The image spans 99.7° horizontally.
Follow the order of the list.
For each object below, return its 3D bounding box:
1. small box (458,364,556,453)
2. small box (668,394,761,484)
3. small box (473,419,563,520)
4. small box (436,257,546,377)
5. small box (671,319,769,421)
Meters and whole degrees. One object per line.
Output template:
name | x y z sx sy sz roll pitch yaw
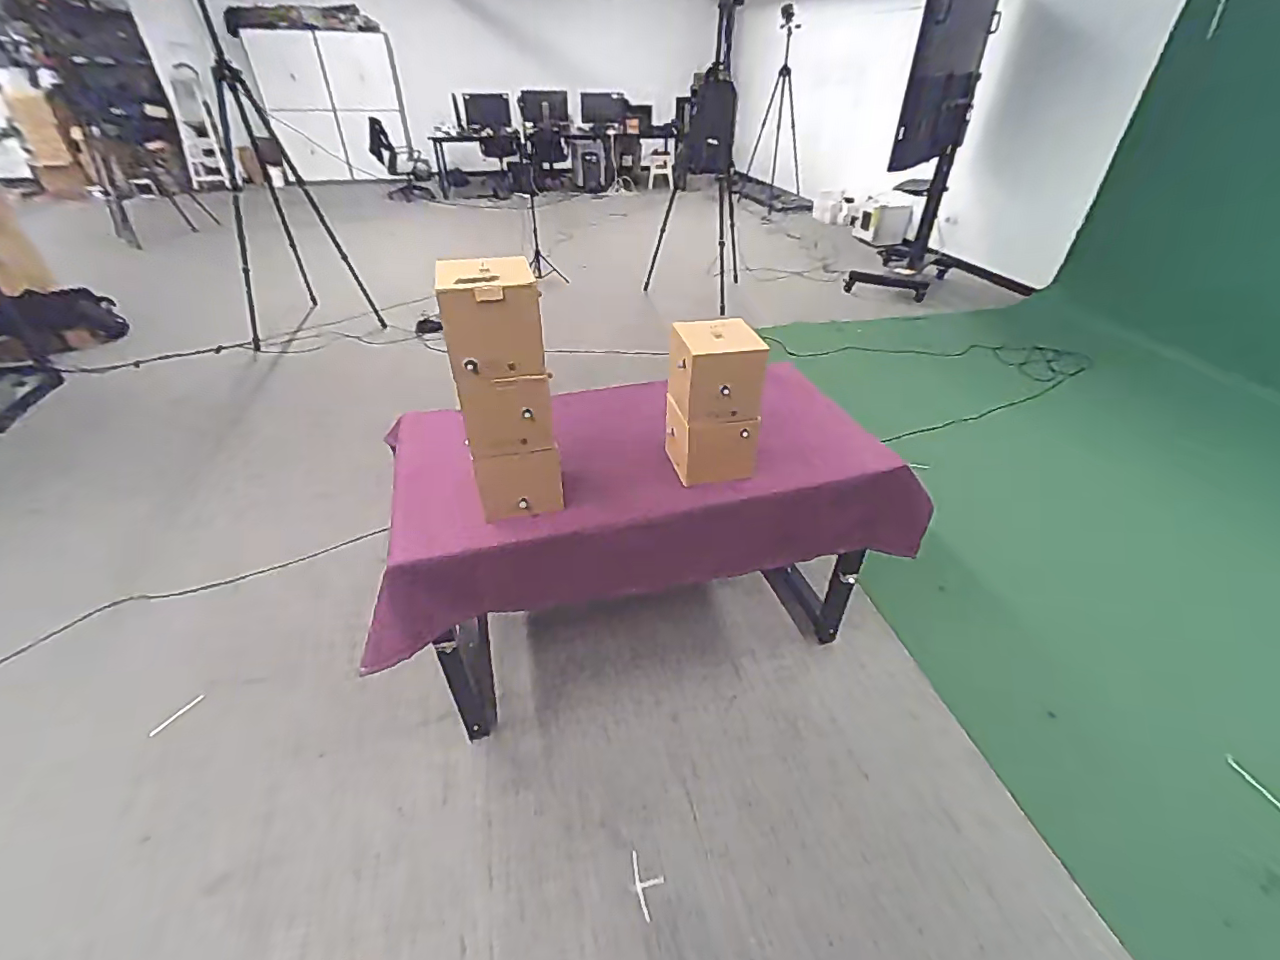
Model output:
small box | -0.266 -0.166 1.098 0.168 0.176 0.179 -7 37 -10
small box | 0.169 -0.105 1.290 0.179 0.176 0.168 -8 38 -11
small box | -0.267 -0.032 1.193 0.179 0.176 0.168 -8 38 -12
small box | -0.273 -0.299 1.002 0.168 0.176 0.179 -9 37 -13
small box | 0.168 -0.239 1.195 0.168 0.176 0.179 -6 37 -9
